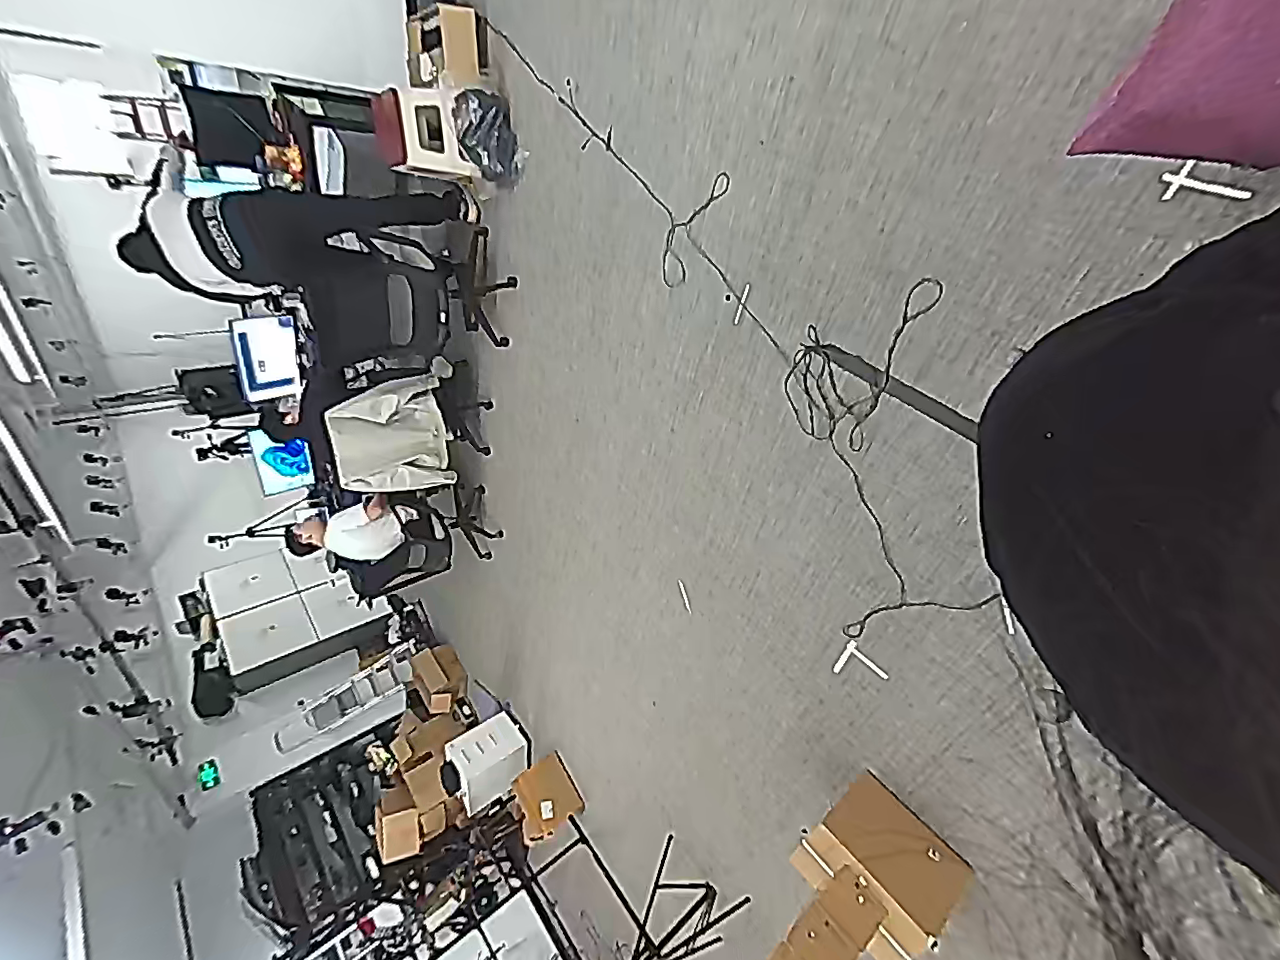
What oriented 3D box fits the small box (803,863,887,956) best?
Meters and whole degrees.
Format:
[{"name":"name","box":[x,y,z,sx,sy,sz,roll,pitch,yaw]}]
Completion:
[{"name":"small box","box":[0.640,1.363,1.700,0.168,0.176,0.179,39,132,34]}]

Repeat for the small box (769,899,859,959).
[{"name":"small box","box":[0.517,1.399,1.600,0.168,0.176,0.179,39,133,36]}]
